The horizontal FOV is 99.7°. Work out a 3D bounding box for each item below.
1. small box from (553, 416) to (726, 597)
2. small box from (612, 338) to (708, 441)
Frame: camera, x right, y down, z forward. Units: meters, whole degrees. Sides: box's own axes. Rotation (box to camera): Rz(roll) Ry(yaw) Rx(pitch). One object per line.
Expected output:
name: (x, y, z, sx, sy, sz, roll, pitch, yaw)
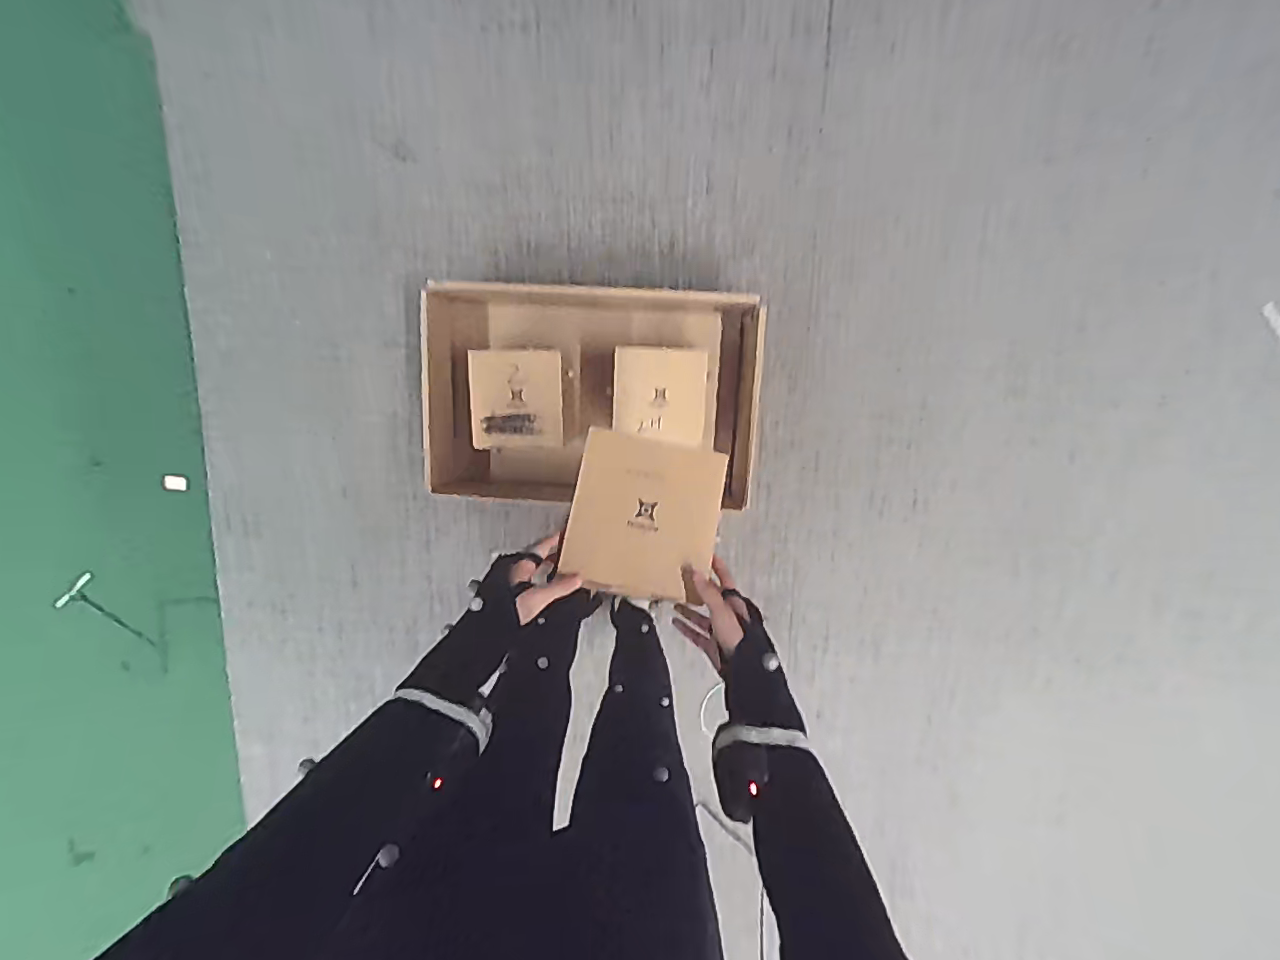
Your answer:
small box: (-0.004, 0.044, 0.677, 0.168, 0.176, 0.179, 13, 76, -3)
small box: (0.036, -0.174, 1.044, 0.168, 0.176, 0.179, 4, 101, 2)
